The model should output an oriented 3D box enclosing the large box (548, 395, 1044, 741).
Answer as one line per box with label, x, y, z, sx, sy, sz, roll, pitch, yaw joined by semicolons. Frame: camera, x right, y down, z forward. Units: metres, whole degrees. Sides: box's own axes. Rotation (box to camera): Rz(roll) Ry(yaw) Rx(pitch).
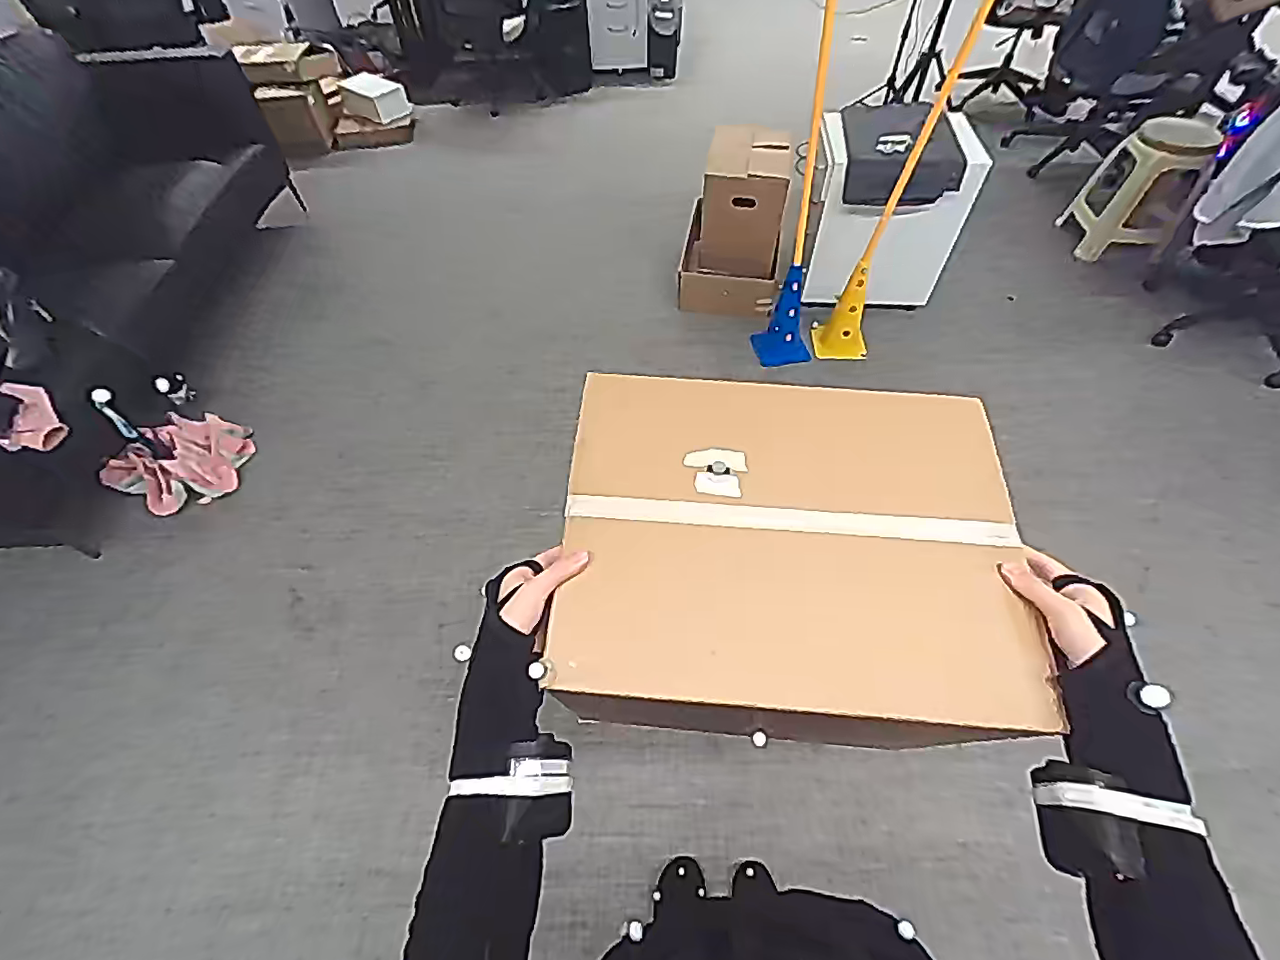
large box;0.136;0.121;0.632;0.408;0.320;0.320;4;61;3
